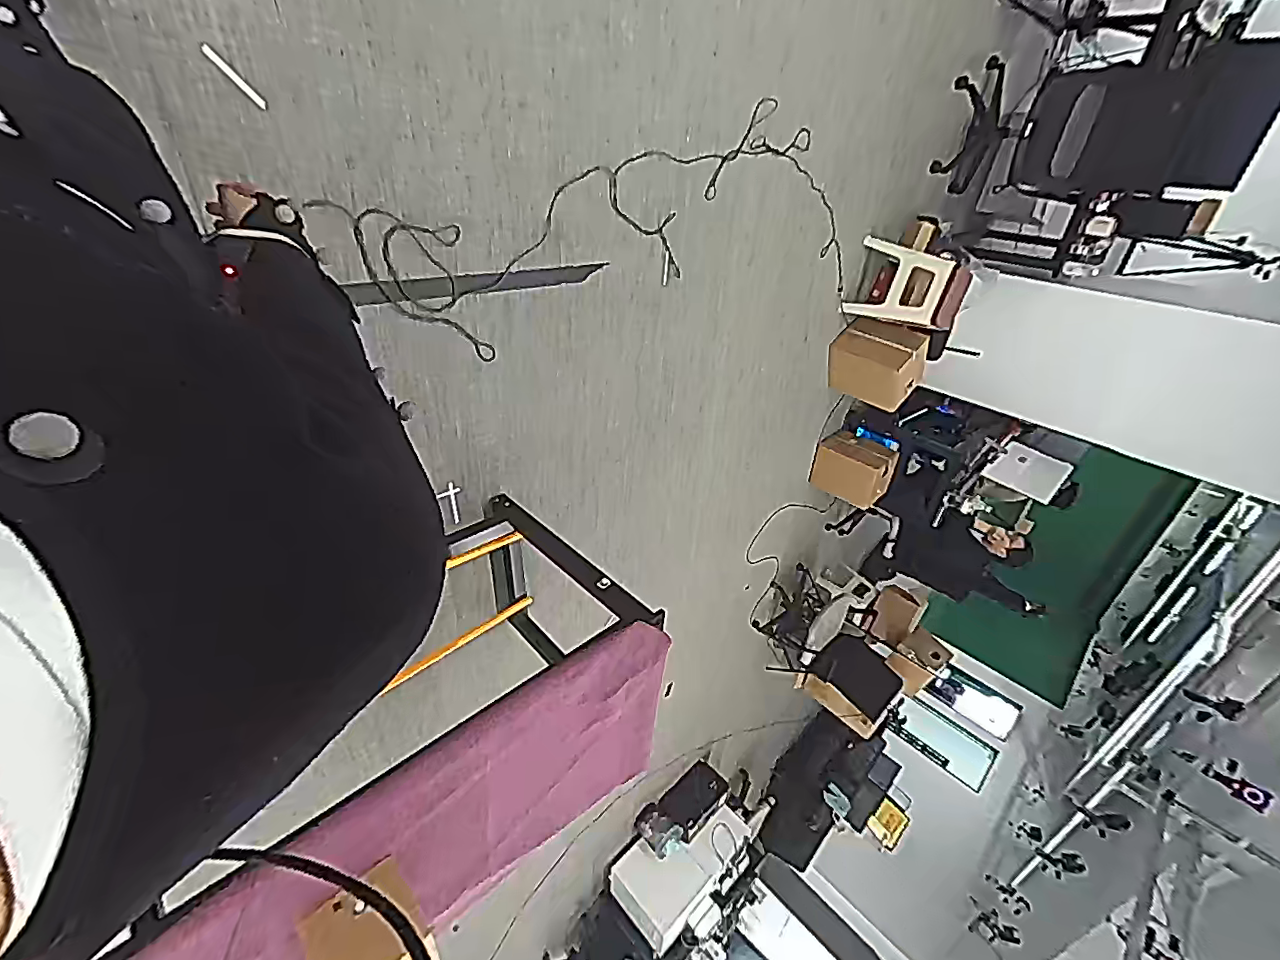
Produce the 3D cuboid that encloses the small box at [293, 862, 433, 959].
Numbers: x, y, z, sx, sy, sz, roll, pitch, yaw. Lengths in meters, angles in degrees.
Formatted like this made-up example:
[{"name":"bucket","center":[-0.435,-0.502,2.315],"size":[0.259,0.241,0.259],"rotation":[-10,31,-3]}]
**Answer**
[{"name":"small box","center":[-0.484,0.833,0.957],"size":[0.168,0.176,0.179],"rotation":[-23,131,-40]}]
